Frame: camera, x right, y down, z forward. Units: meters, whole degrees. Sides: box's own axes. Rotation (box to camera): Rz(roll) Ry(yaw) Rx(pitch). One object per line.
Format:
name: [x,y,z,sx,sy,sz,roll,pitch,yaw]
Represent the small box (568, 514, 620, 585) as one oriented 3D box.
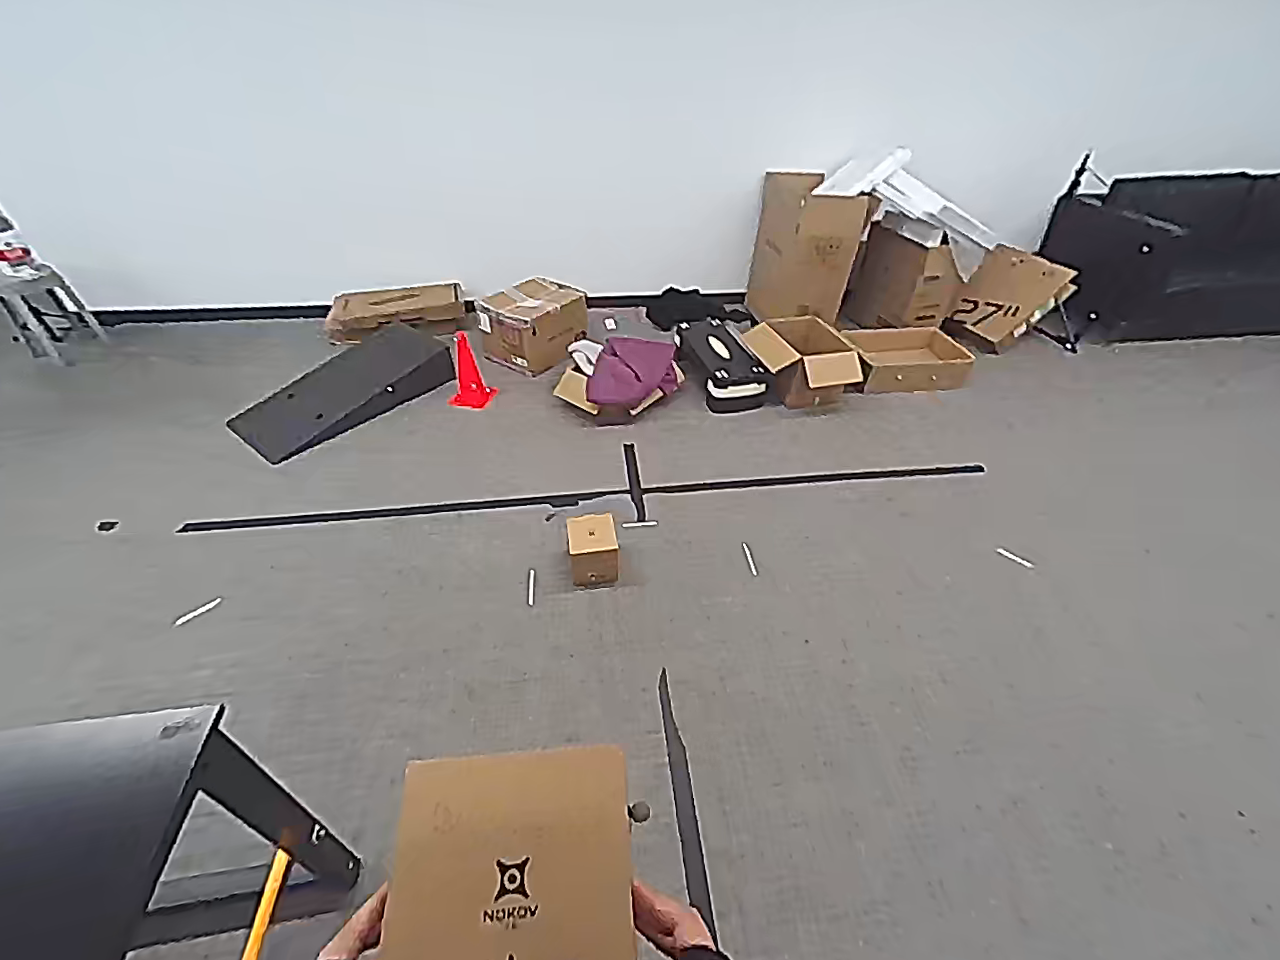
small box: [-0.165,0.248,1.922,0.168,0.176,0.179,-8,42,-8]
